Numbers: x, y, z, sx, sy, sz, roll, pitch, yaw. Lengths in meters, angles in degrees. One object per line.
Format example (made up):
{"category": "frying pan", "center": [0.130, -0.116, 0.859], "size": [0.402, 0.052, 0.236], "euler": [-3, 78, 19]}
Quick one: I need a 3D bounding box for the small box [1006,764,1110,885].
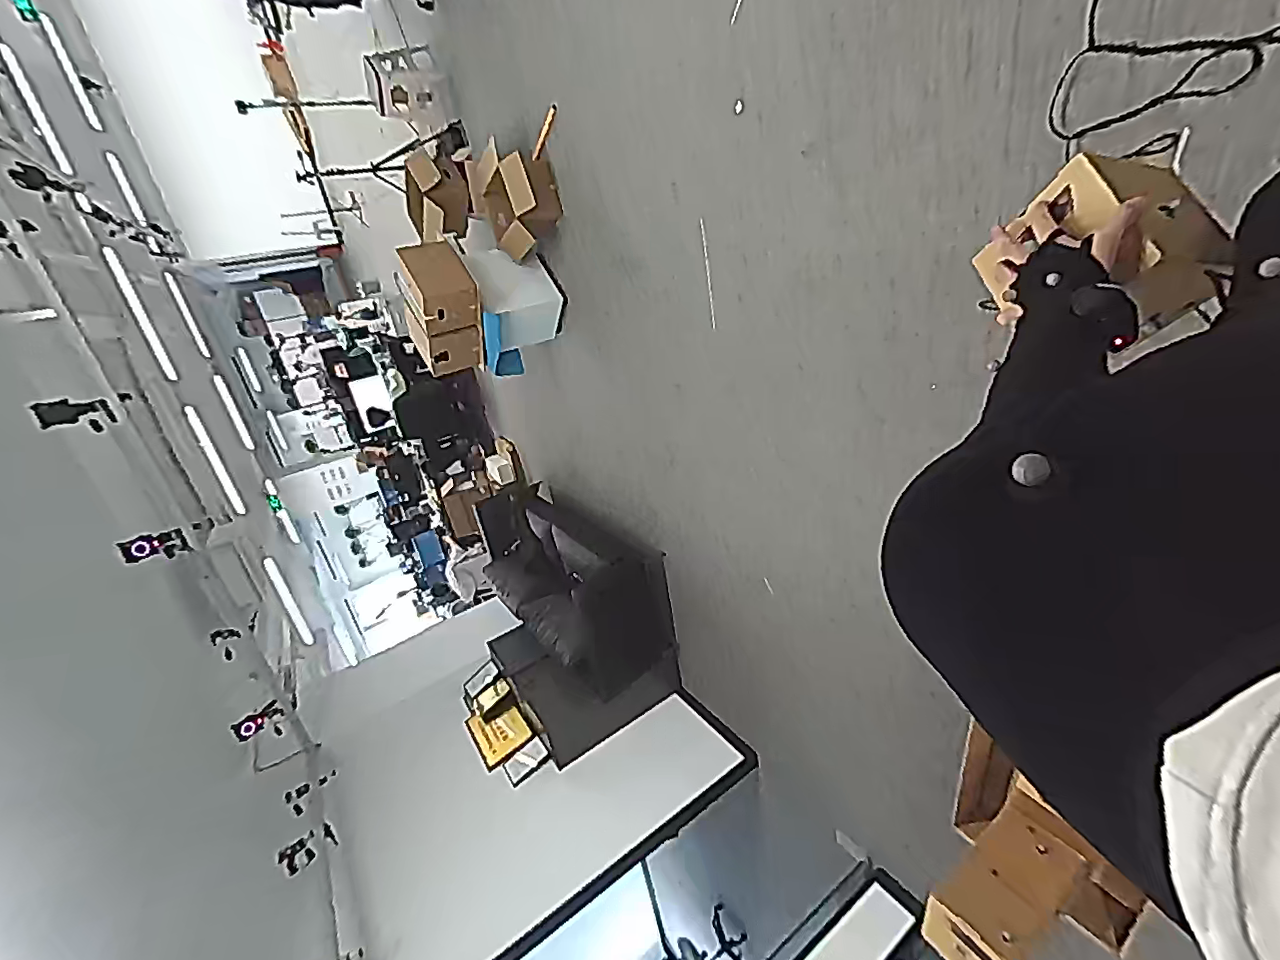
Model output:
{"category": "small box", "center": [1.025, 0.860, 1.344], "size": [0.168, 0.176, 0.179], "euler": [27, 131, 50]}

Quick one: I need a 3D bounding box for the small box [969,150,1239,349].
{"category": "small box", "center": [0.586, -0.285, 0.701], "size": [0.168, 0.176, 0.179], "euler": [120, 143, -59]}

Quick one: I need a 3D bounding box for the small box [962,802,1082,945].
{"category": "small box", "center": [0.892, 0.912, 1.266], "size": [0.168, 0.176, 0.179], "euler": [27, 131, 51]}
